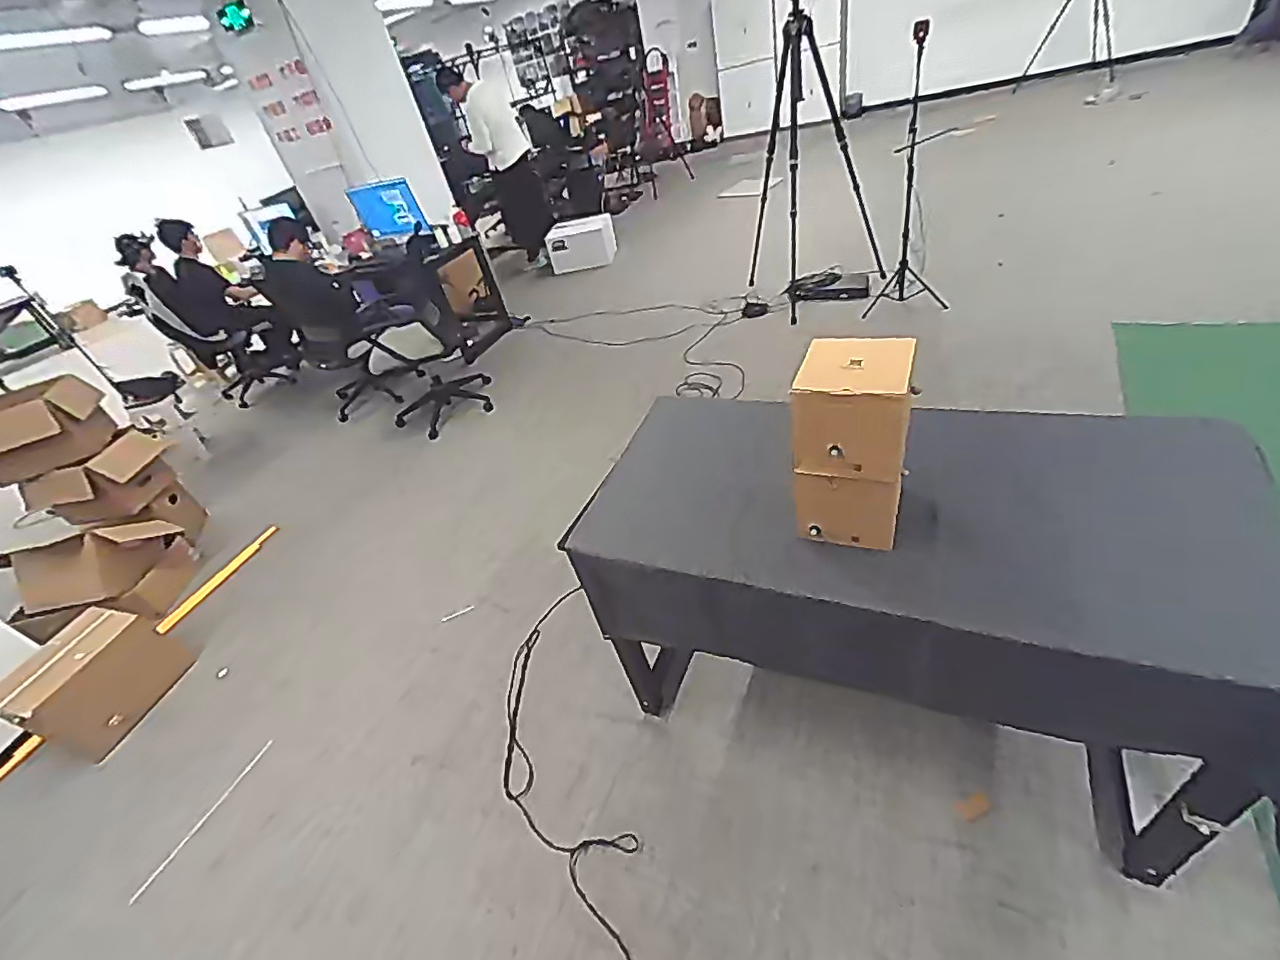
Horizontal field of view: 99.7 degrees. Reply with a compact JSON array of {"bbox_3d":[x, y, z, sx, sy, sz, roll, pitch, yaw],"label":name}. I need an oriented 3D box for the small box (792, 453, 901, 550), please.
[{"bbox_3d":[0.392,0.008,1.014,0.168,0.176,0.179,6,42,27],"label":"small box"}]

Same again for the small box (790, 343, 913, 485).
[{"bbox_3d":[0.357,-0.115,0.915,0.168,0.176,0.179,7,43,27],"label":"small box"}]
